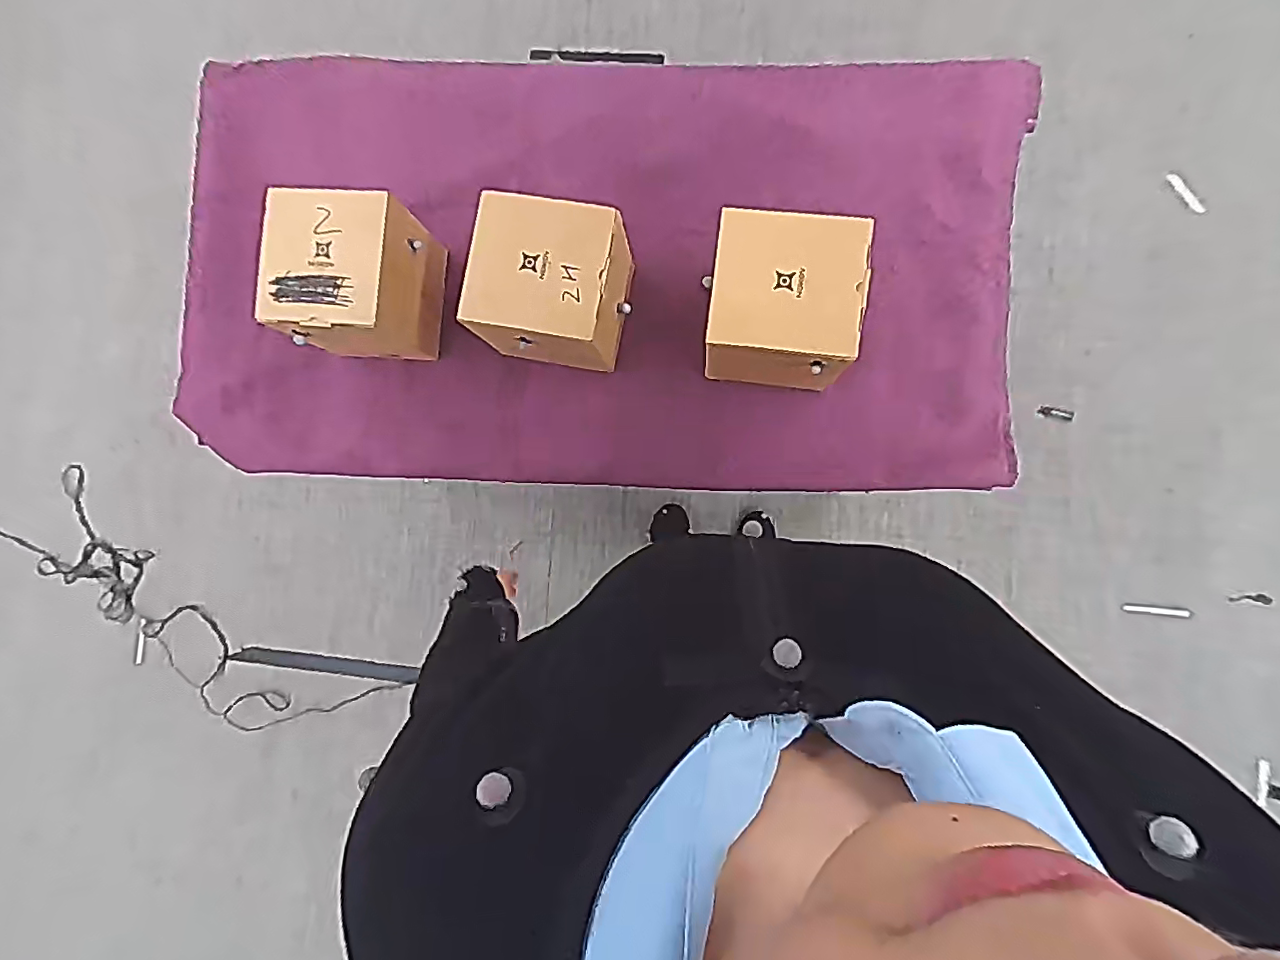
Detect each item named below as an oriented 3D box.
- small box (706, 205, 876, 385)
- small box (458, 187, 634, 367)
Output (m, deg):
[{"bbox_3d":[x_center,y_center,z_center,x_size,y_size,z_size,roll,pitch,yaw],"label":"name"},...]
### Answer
[{"bbox_3d":[0.181,-0.227,0.700,0.179,0.176,0.168,7,87,6],"label":"small box"},{"bbox_3d":[-0.115,-0.260,0.730,0.179,0.176,0.168,11,90,6],"label":"small box"}]
